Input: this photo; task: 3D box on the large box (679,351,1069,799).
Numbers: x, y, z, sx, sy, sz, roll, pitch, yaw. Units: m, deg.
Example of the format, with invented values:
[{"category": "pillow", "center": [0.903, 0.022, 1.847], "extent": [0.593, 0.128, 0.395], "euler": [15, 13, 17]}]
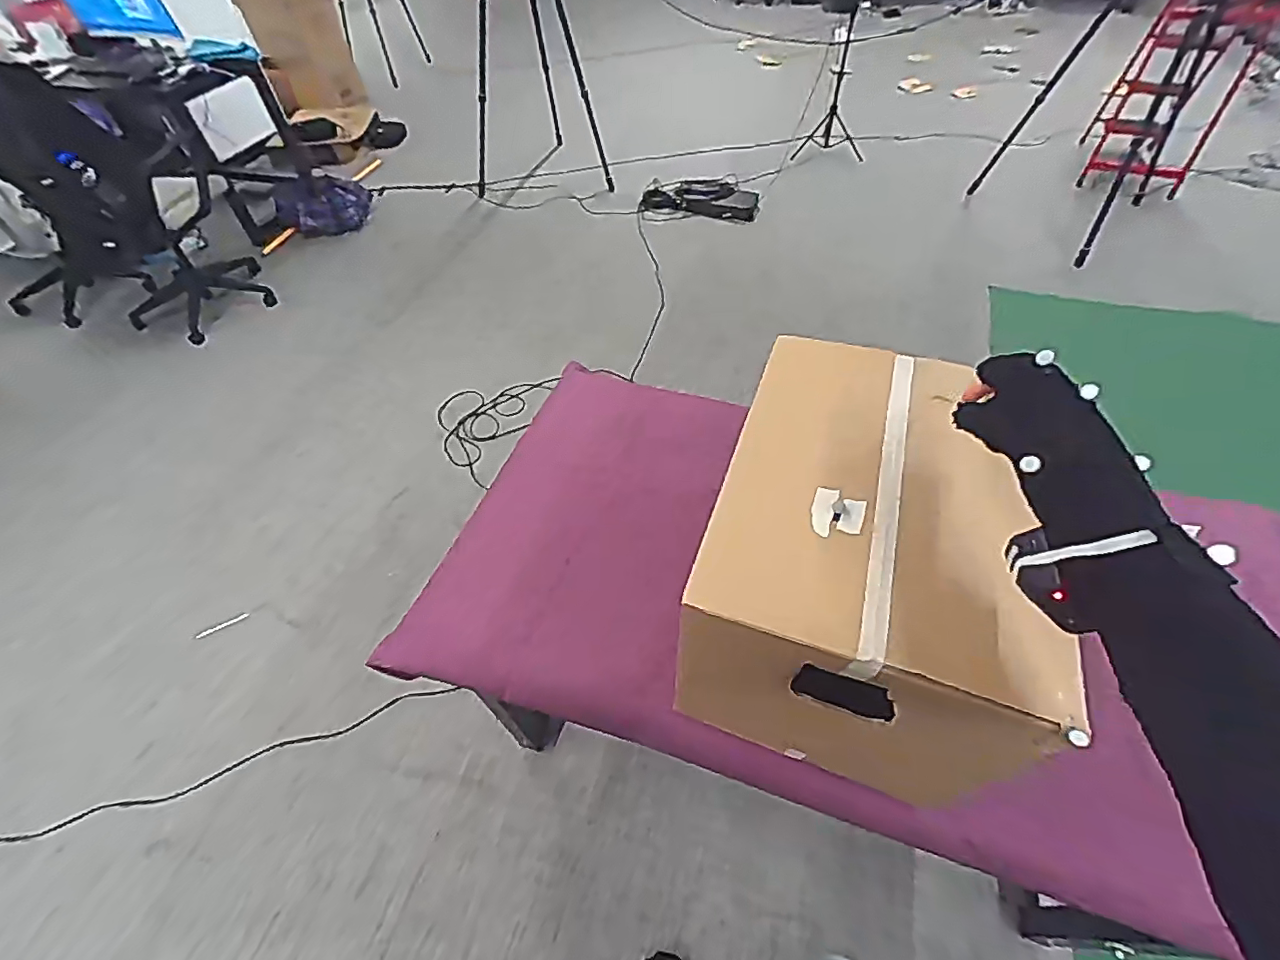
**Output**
[{"category": "large box", "center": [0.256, 0.106, 0.677], "extent": [0.320, 0.320, 0.408], "euler": [15, 53, 15]}]
